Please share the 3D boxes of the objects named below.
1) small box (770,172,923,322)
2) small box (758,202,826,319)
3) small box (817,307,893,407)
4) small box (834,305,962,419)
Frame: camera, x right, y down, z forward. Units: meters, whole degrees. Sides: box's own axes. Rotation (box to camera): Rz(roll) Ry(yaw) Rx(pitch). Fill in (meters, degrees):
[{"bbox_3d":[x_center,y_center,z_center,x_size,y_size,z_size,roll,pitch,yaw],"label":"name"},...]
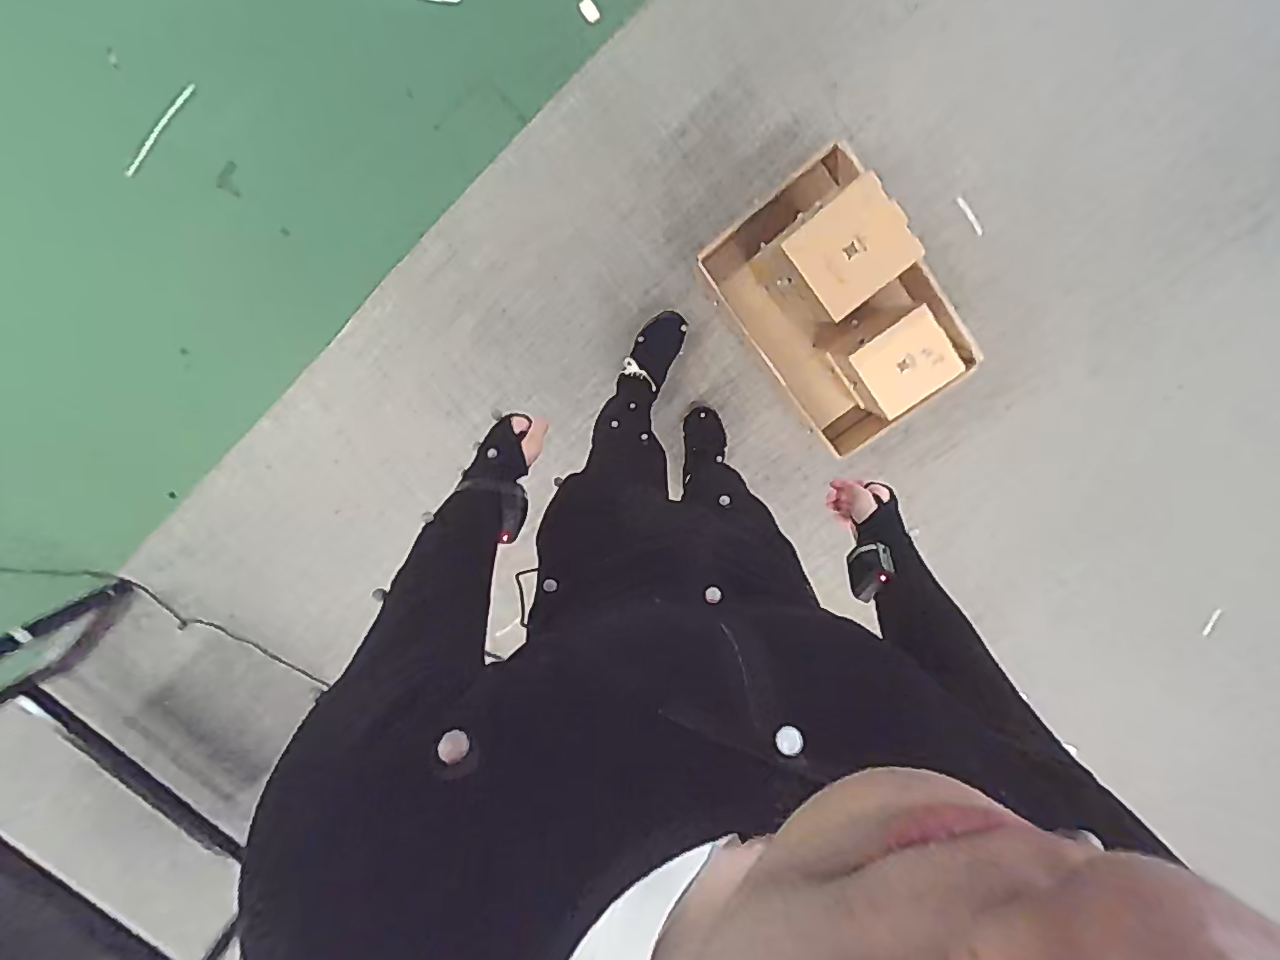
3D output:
[{"bbox_3d":[0.356,-0.406,0.968,0.179,0.176,0.168,-37,101,15],"label":"small box"},{"bbox_3d":[0.368,-0.457,1.123,0.179,0.176,0.168,-37,101,14],"label":"small box"},{"bbox_3d":[0.556,-0.304,1.331,0.179,0.176,0.168,-35,100,14],"label":"small box"},{"bbox_3d":[0.544,-0.256,1.173,0.179,0.176,0.168,-35,101,13],"label":"small box"}]
